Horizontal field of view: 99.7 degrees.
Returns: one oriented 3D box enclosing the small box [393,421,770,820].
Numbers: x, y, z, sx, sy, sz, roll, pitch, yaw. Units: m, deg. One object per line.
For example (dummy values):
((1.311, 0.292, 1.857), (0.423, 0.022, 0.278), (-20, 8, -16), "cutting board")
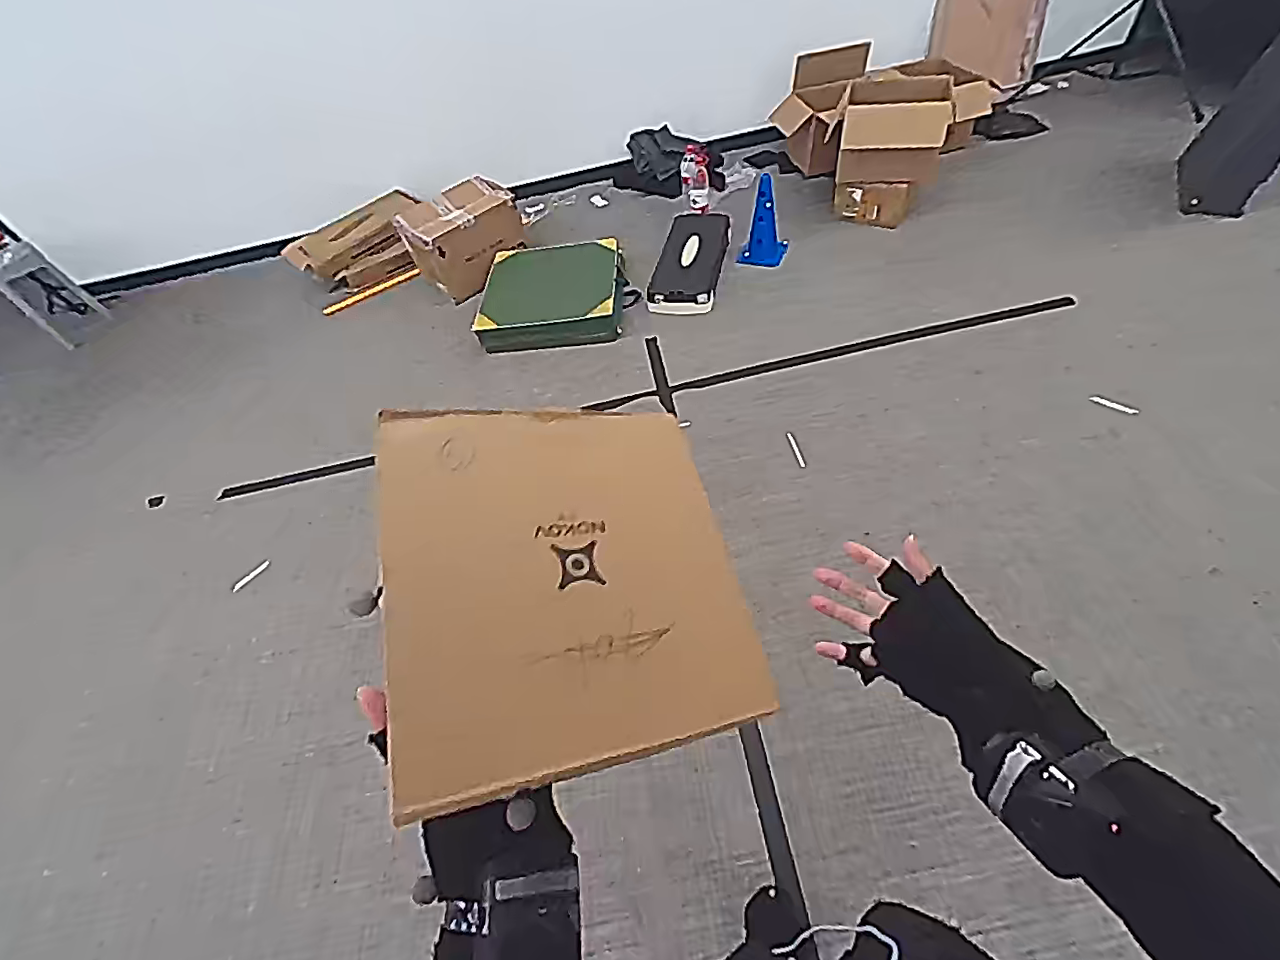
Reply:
((-0.058, 0.085, 0.329), (0.168, 0.176, 0.179), (-2, 59, -25), "small box")
